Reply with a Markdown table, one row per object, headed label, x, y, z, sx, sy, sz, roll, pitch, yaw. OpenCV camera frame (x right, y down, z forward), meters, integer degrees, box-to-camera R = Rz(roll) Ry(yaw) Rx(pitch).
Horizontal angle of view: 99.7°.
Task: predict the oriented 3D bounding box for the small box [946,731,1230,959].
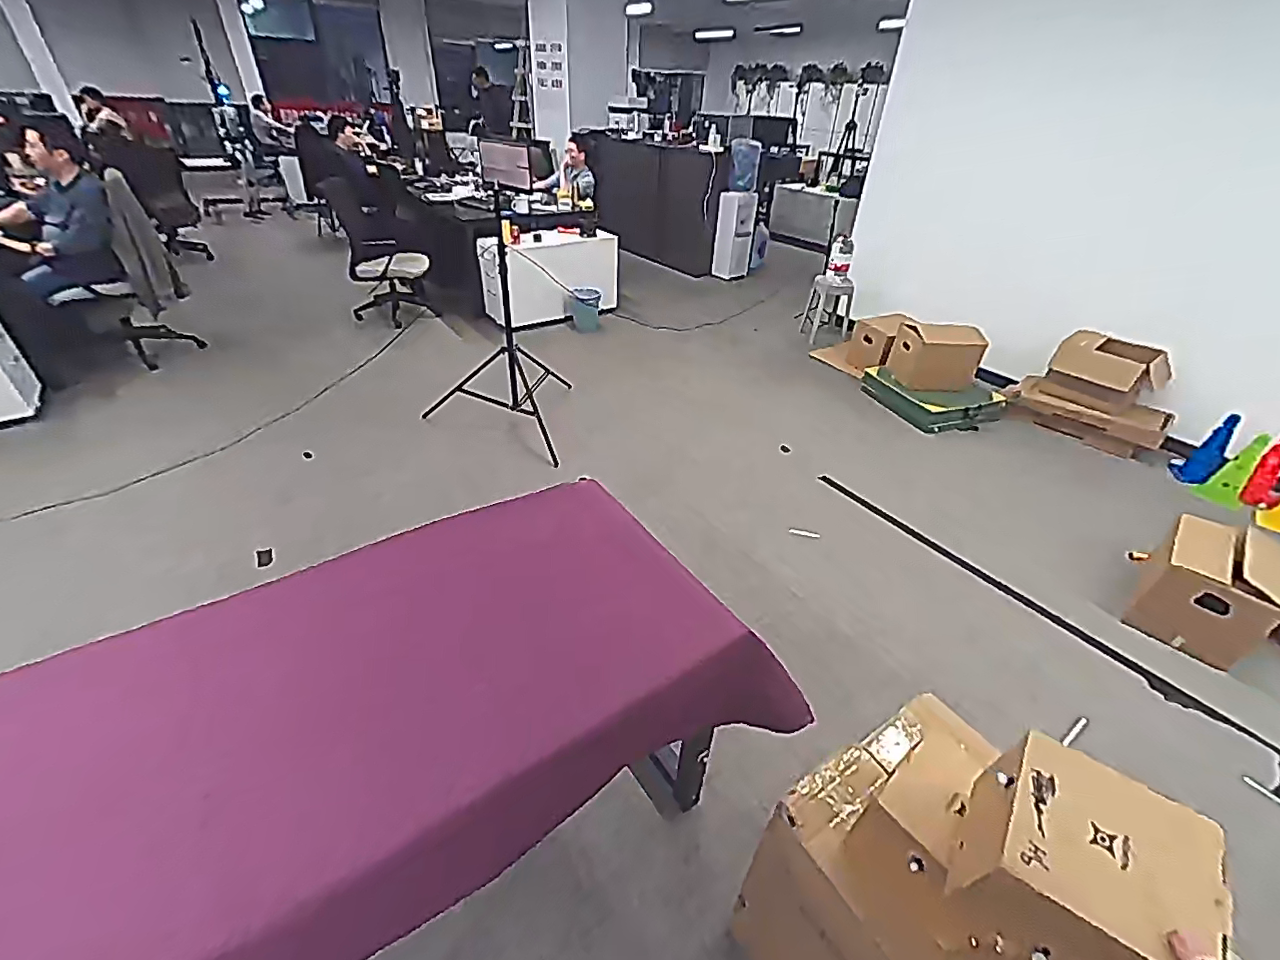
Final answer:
| label | x | y | z | sx | sy | sz | roll | pitch | yaw |
| --- | --- | --- | --- | --- | --- | --- | --- | --- | --- |
| small box | 0.472 | 0.420 | 0.589 | 0.179 | 0.176 | 0.168 | 26 | 51 | 27 |

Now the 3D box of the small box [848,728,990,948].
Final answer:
| label | x | y | z | sx | sy | sz | roll | pitch | yaw |
| --- | --- | --- | --- | --- | --- | --- | --- | --- | --- |
| small box | 0.428 | 0.506 | 0.771 | 0.168 | 0.176 | 0.179 | -24 | 45 | -31 |
